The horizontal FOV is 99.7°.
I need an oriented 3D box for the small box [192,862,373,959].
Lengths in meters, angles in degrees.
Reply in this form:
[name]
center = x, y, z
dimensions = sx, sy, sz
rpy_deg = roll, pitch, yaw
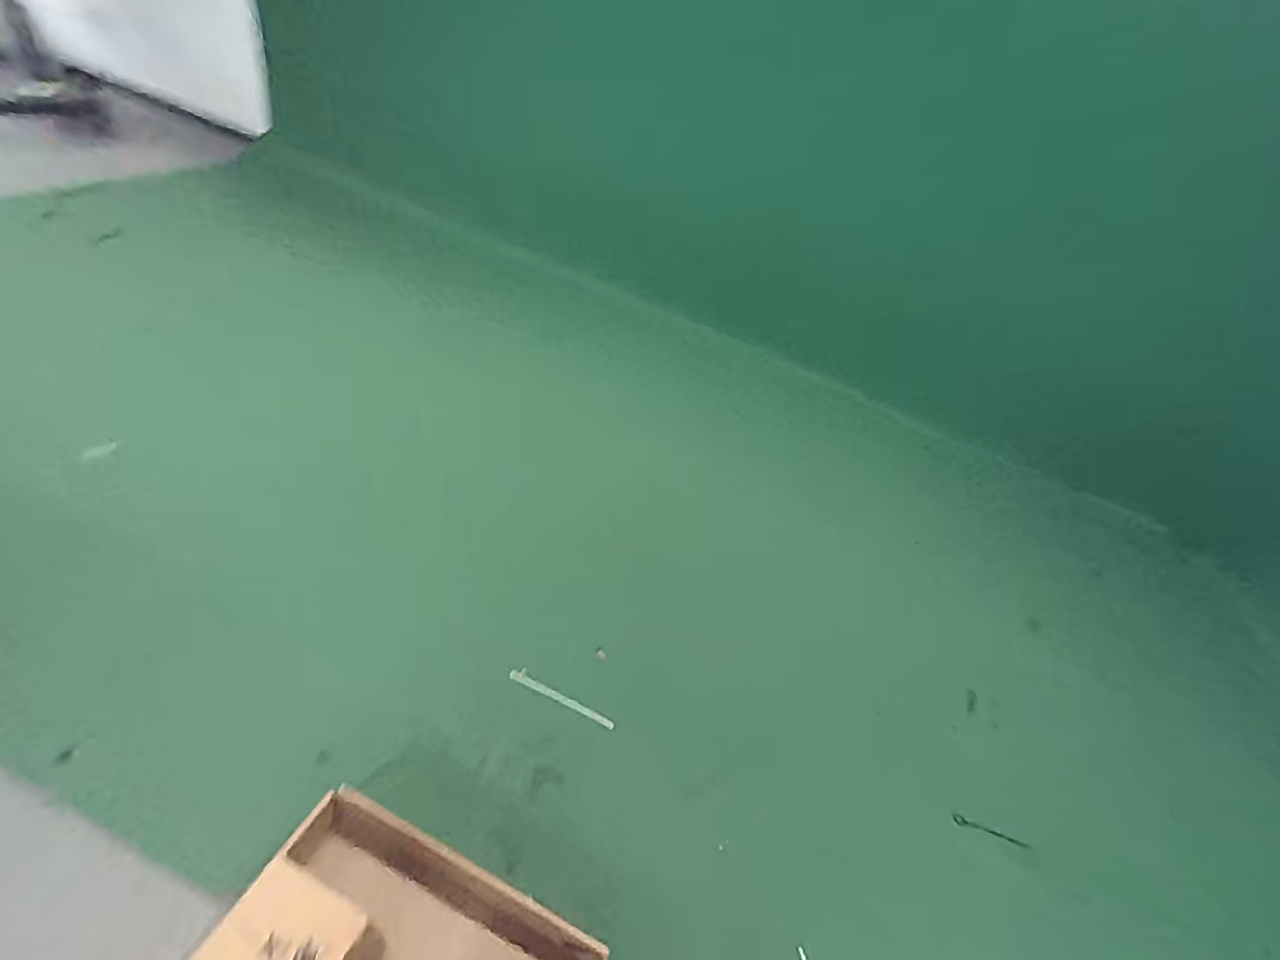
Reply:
[small box]
center = -0.514, 0.698, 0.779
dimensions = 0.179, 0.176, 0.168
rpy_deg = 26, 42, 8
